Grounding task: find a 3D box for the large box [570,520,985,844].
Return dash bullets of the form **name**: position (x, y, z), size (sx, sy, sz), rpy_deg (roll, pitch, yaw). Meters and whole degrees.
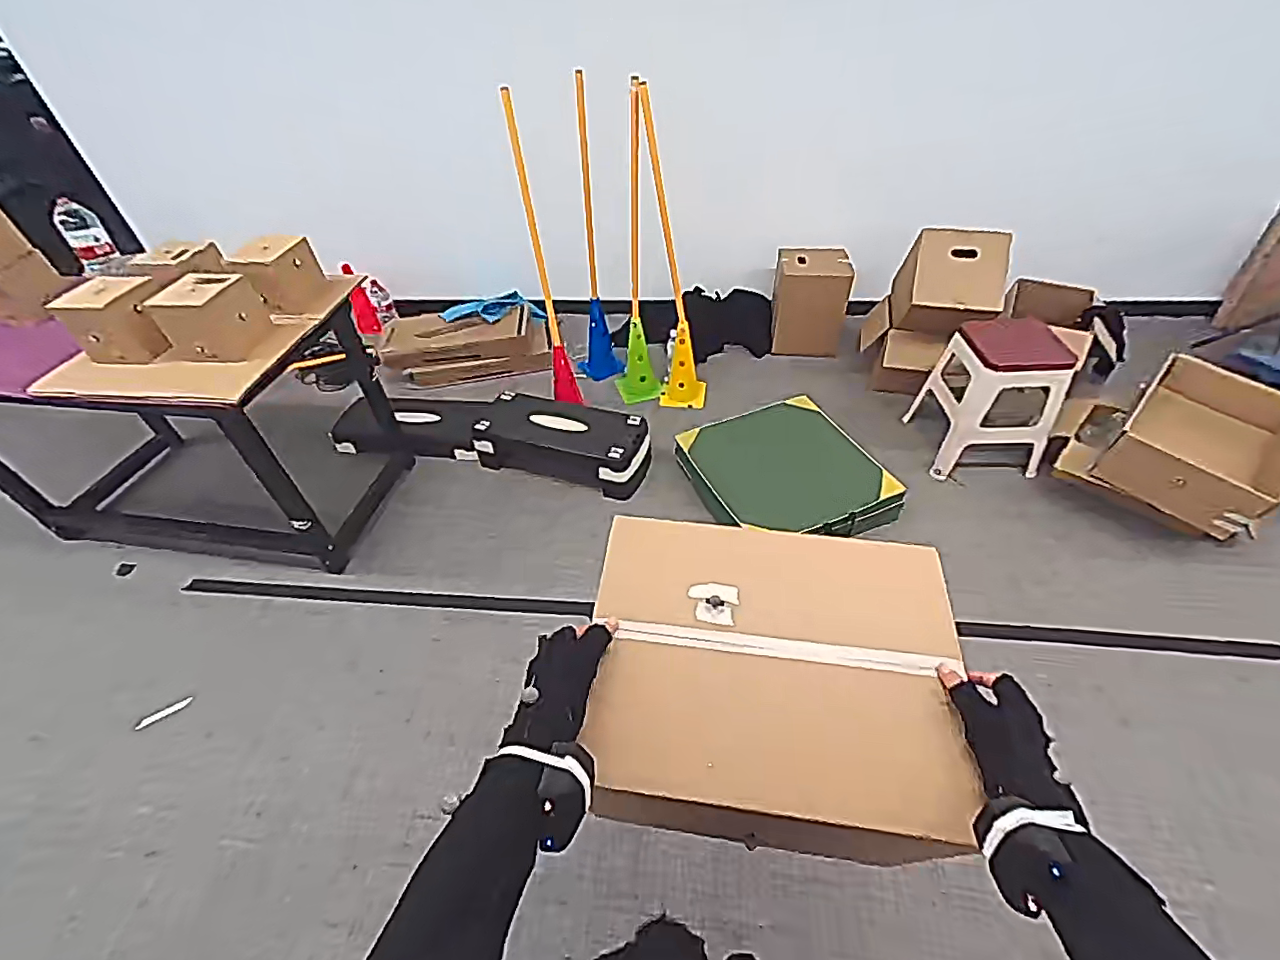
- **large box**: position (0.152, 0.276, 0.728), size (0.408, 0.320, 0.320), rpy_deg (4, 52, 7)
